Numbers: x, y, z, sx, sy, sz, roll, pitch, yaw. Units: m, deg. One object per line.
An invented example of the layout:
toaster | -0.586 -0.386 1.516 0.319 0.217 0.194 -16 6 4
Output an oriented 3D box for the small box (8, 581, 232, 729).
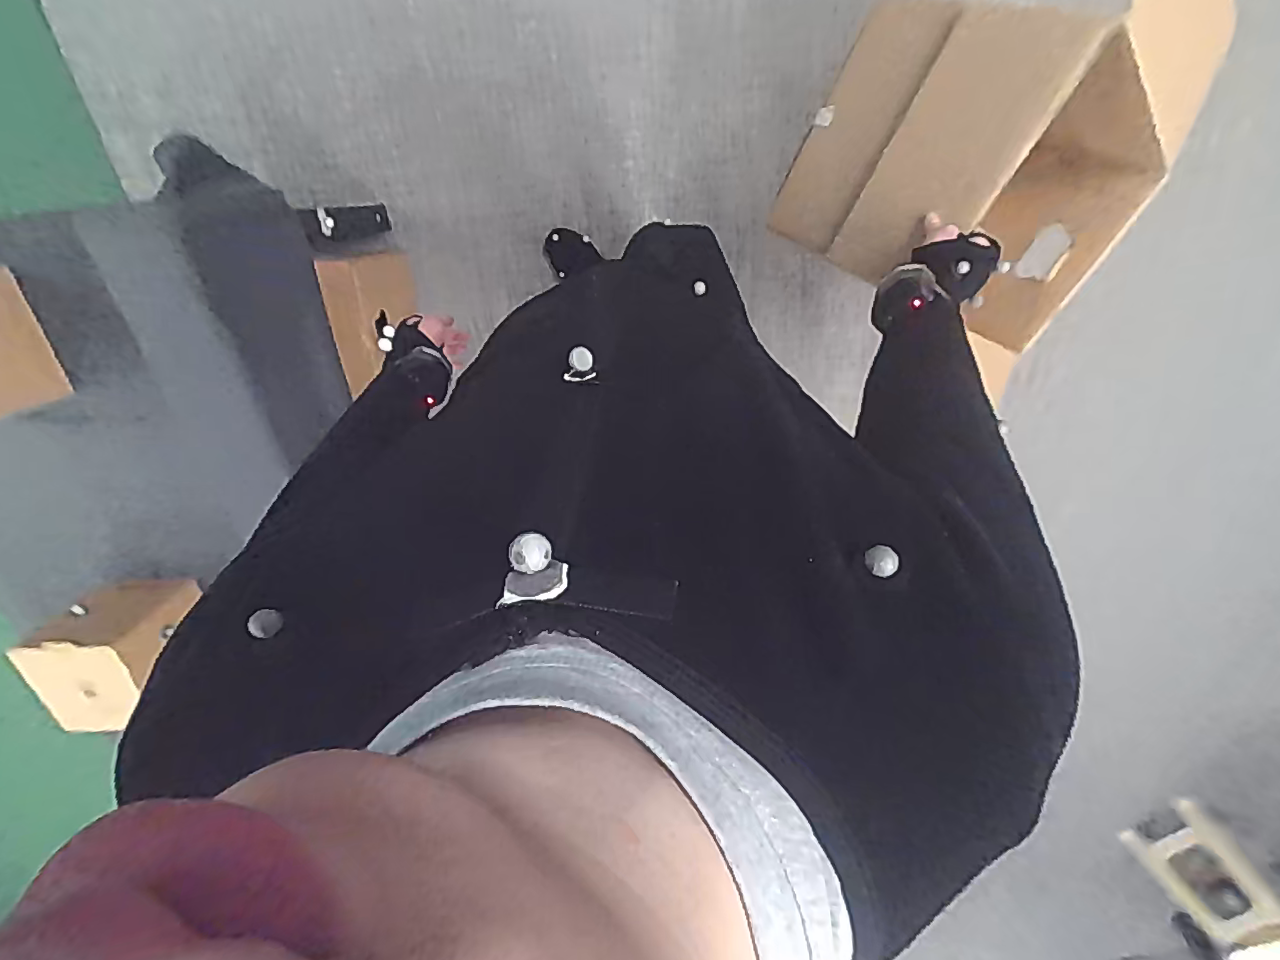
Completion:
small box | -0.835 0.280 0.893 0.168 0.176 0.179 -3 118 2

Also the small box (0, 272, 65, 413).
small box | -0.891 -0.162 0.662 0.168 0.176 0.179 -2 116 0
